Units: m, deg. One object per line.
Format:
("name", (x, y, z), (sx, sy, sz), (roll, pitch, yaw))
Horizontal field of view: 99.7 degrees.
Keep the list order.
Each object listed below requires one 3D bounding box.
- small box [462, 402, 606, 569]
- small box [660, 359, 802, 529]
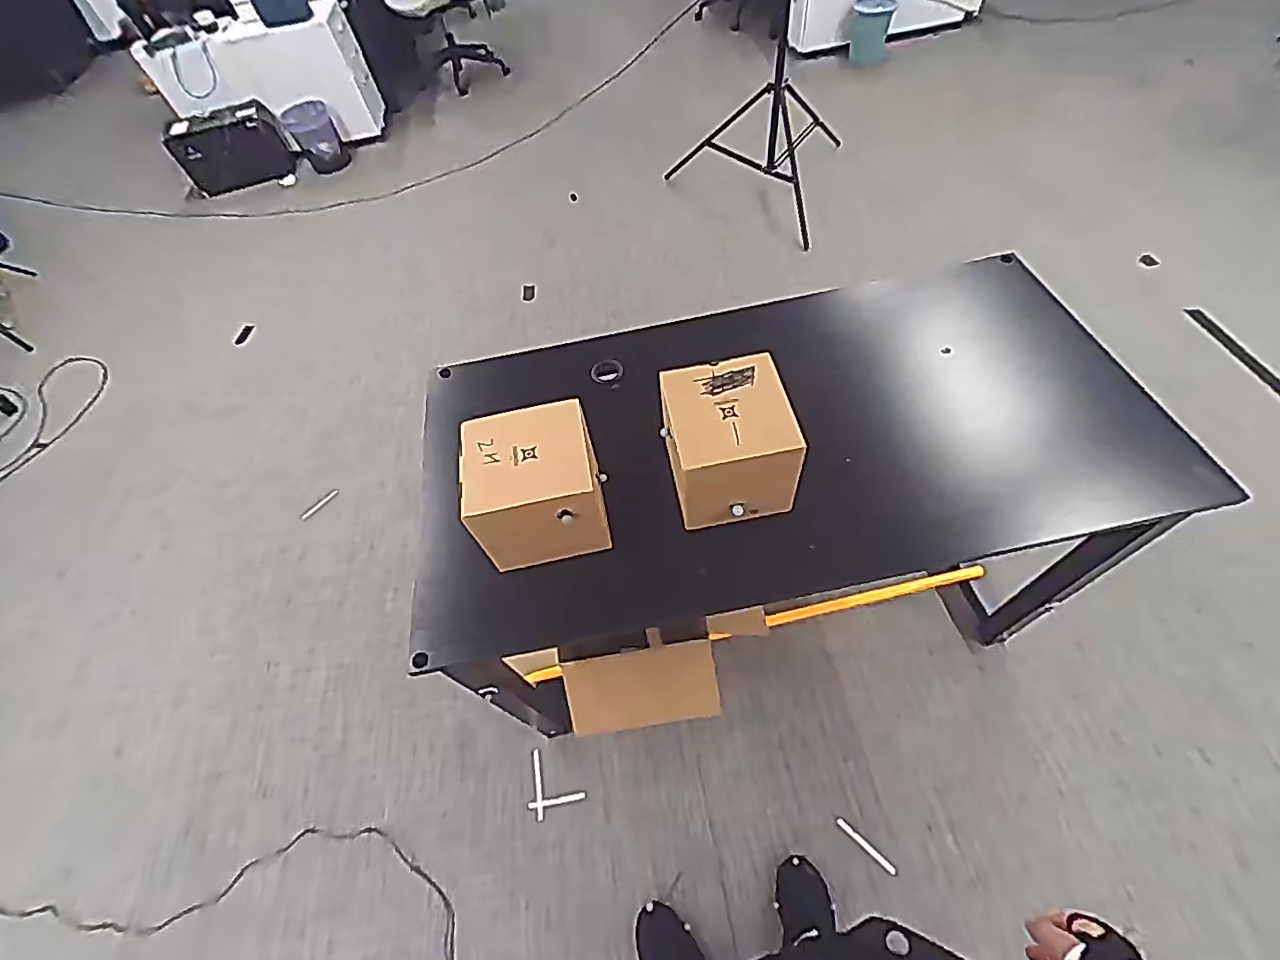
("small box", (-0.151, 0.013, 0.805), (0.179, 0.176, 0.168), (-12, 56, -1))
("small box", (0.127, -0.050, 0.814), (0.168, 0.176, 0.179), (-11, 57, 0))
